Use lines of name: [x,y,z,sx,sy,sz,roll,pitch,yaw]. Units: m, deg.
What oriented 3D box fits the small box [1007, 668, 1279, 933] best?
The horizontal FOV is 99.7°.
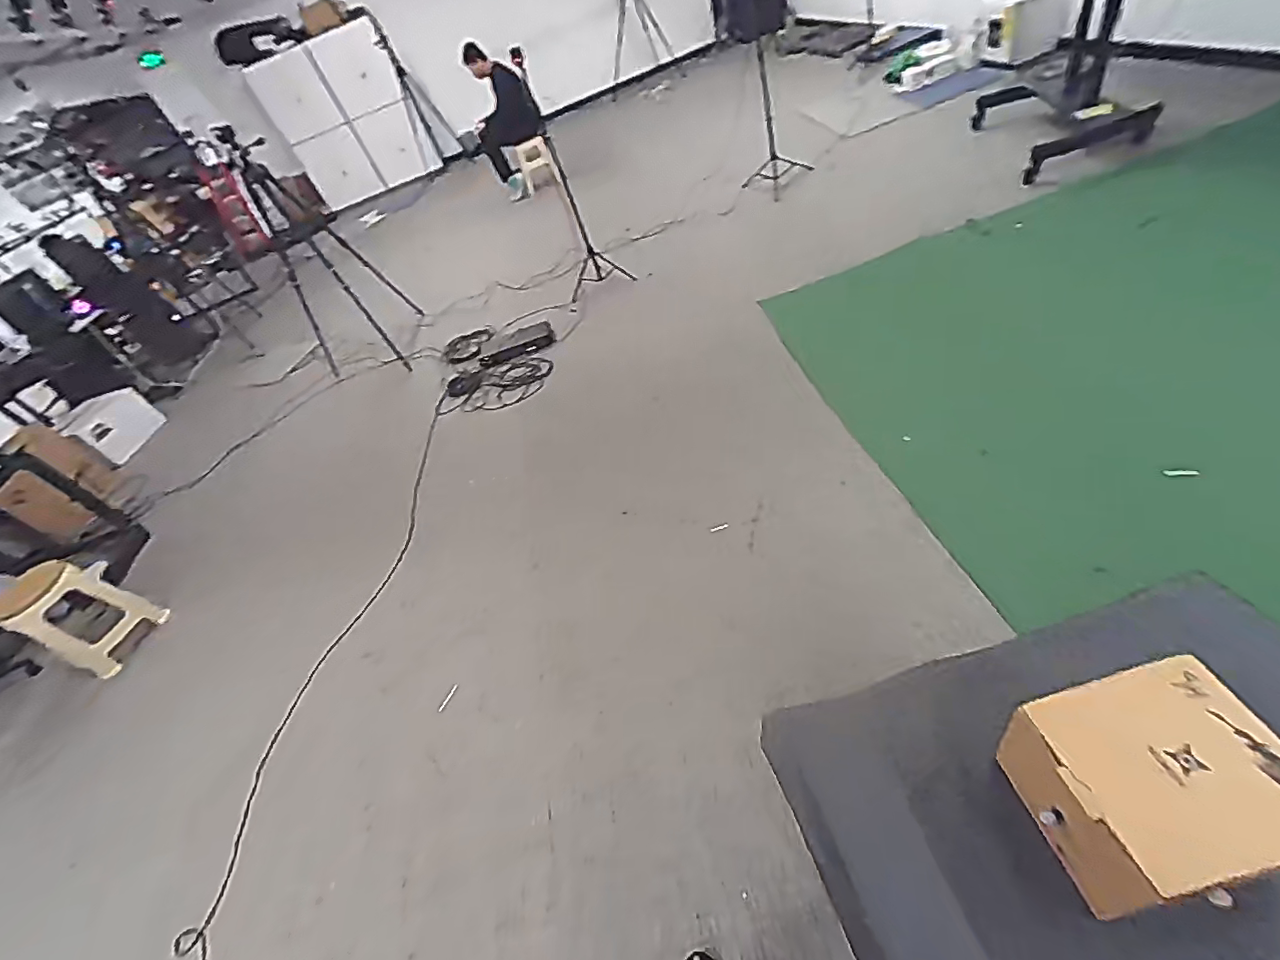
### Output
small box: [0.504,0.324,0.541,0.179,0.176,0.168,-20,43,4]
